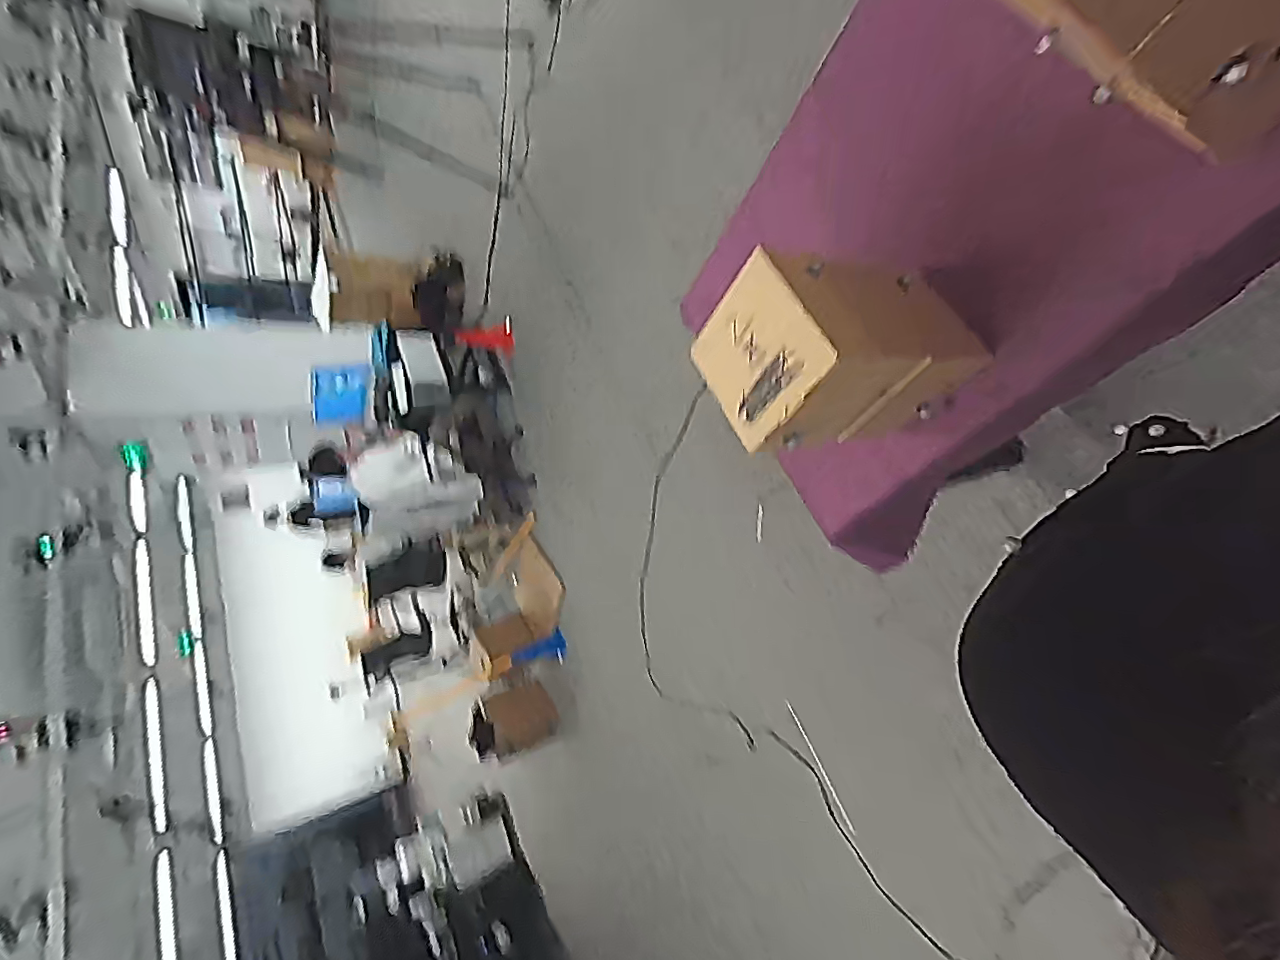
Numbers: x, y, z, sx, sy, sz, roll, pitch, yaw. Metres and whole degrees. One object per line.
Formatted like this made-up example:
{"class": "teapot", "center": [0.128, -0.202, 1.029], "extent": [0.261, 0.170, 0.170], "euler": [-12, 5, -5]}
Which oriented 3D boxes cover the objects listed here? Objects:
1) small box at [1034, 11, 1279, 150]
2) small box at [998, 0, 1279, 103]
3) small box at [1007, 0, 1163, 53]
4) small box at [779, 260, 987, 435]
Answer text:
{"class": "small box", "center": [0.511, -0.424, 0.474], "extent": [0.179, 0.176, 0.168], "euler": [64, 144, 24]}
{"class": "small box", "center": [0.377, -0.402, 0.381], "extent": [0.179, 0.176, 0.168], "euler": [63, 142, 24]}
{"class": "small box", "center": [0.246, -0.376, 0.284], "extent": [0.168, 0.176, 0.179], "euler": [62, 141, 23]}
{"class": "small box", "center": [0.343, -0.185, 0.777], "extent": [0.179, 0.176, 0.168], "euler": [63, 142, 22]}
